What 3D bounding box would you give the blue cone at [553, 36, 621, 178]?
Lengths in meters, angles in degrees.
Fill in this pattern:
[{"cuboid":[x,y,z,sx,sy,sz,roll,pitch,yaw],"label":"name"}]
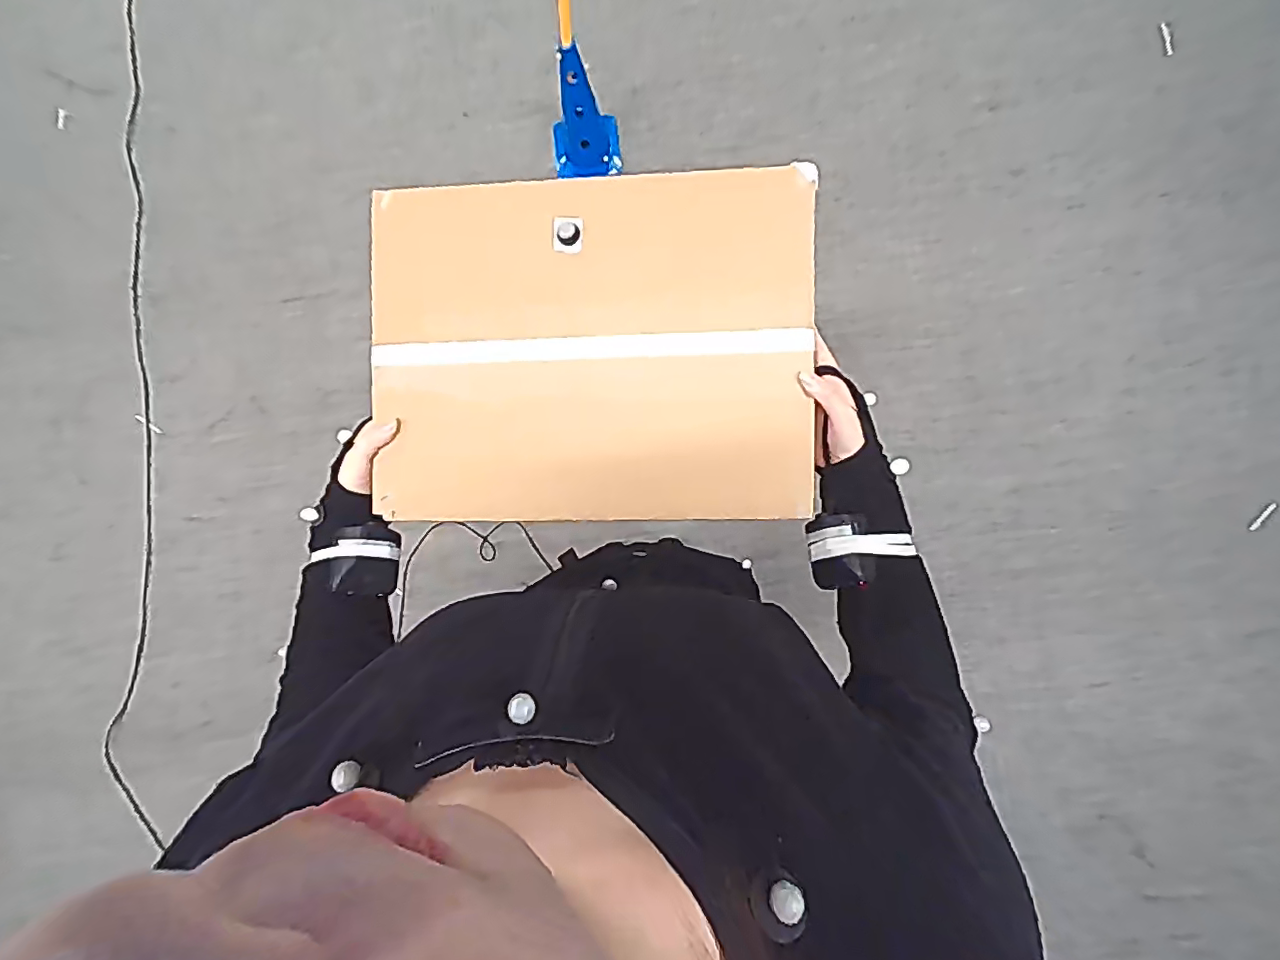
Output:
[{"cuboid":[-0.166,-1.030,1.469,0.193,0.380,0.192,-9,84,0],"label":"blue cone"}]
